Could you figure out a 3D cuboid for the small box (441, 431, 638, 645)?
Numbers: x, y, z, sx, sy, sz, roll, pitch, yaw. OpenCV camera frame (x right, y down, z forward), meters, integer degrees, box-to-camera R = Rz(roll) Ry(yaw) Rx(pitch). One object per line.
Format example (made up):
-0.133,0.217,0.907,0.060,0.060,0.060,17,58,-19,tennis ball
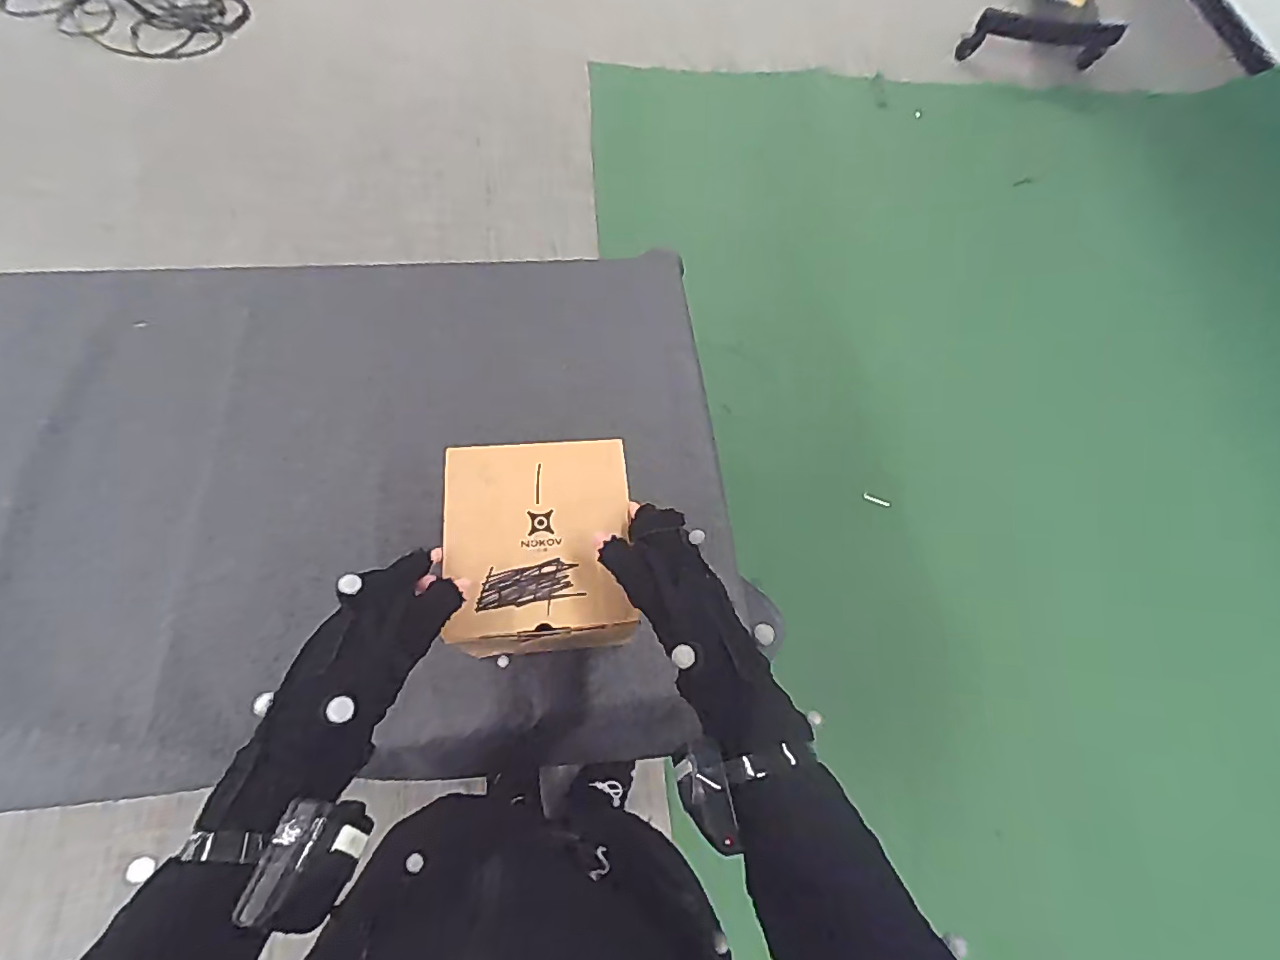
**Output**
-0.097,0.068,0.548,0.168,0.176,0.179,-4,68,-8,small box
